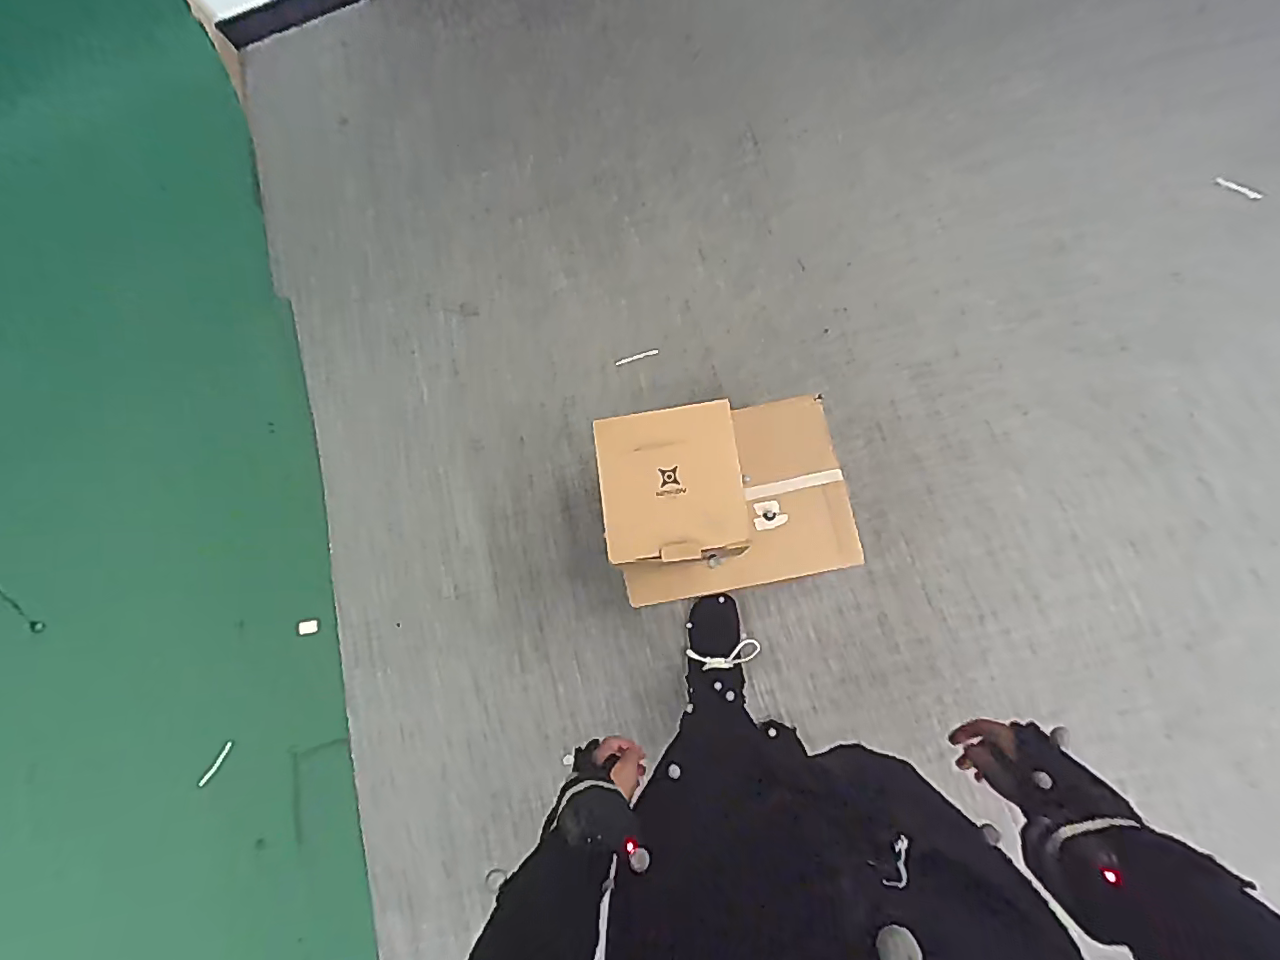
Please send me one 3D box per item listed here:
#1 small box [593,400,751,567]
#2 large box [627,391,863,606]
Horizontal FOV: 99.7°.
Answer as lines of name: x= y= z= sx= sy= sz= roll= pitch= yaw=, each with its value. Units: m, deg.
small box: x=0.042 y=0.017 z=0.698 sx=0.168 sy=0.176 sz=0.179 roll=-9 pitch=77 yaw=3
large box: x=0.168 y=0.058 z=1.092 sx=0.408 sy=0.320 sz=0.320 roll=-12 pitch=79 yaw=4
